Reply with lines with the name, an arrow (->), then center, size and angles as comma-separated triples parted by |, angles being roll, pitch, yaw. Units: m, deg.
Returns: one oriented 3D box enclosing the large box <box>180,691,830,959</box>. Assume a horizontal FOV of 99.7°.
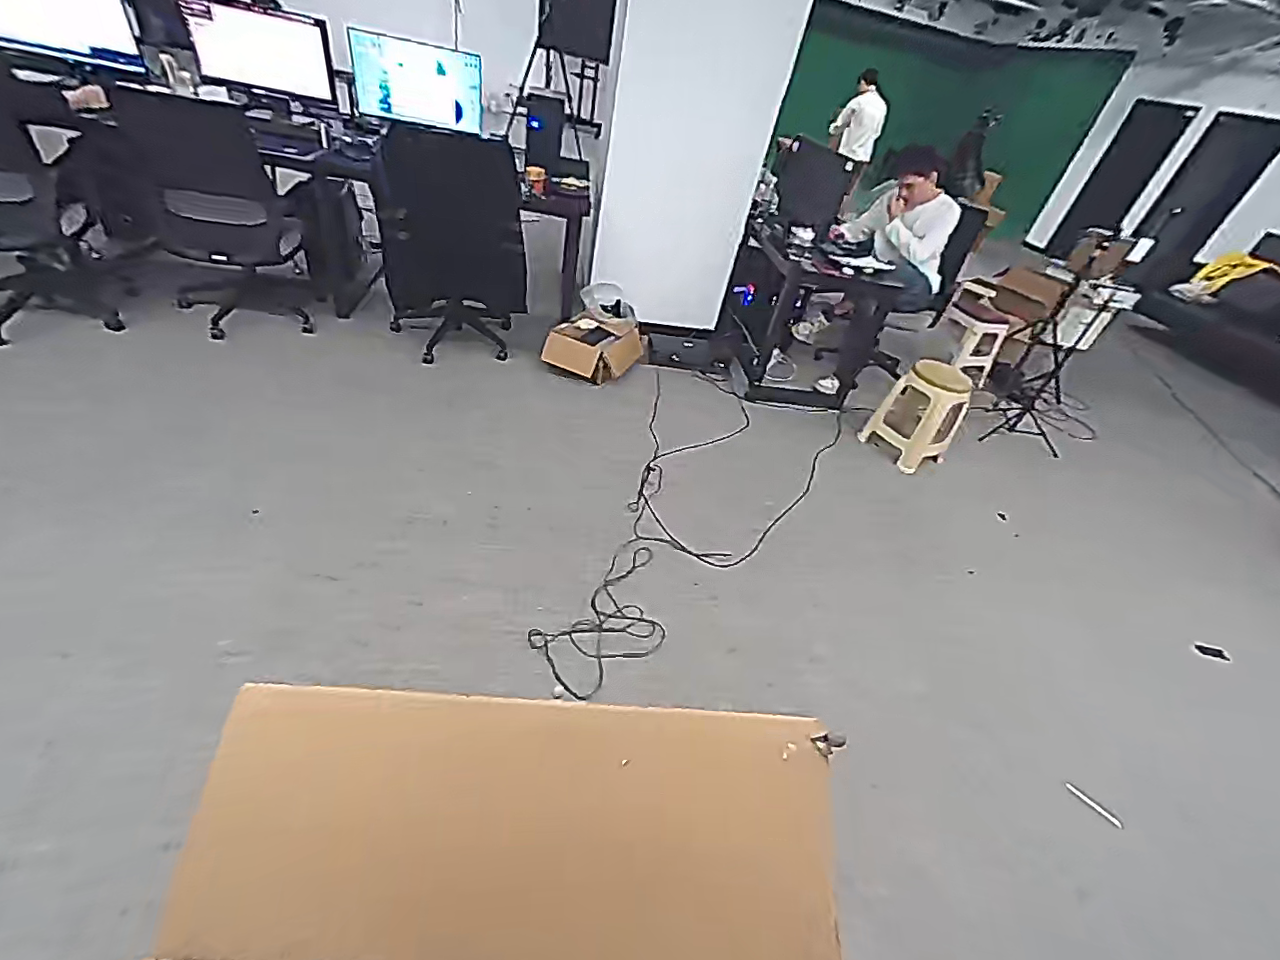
large box -> -0.090, 0.361, 0.464 | 0.408, 0.320, 0.320 | 5, 68, -3
